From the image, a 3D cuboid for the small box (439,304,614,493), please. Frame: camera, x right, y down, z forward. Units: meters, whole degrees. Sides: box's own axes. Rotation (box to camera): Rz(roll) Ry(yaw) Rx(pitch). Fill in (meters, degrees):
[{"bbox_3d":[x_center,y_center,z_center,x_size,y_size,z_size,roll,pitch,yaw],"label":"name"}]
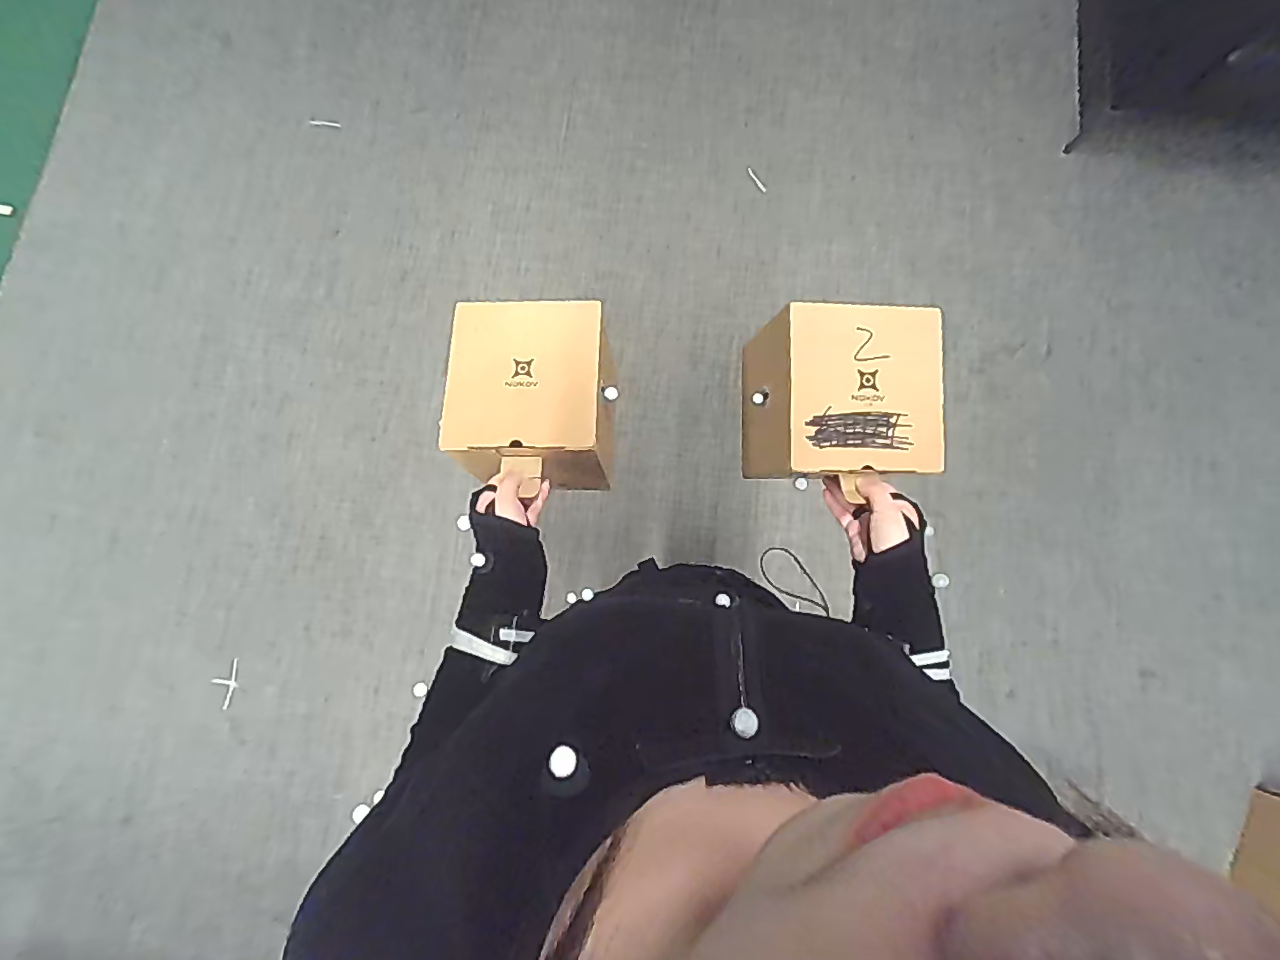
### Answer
[{"bbox_3d":[-0.122,-0.091,0.655,0.168,0.176,0.179,1,75,3],"label":"small box"}]
